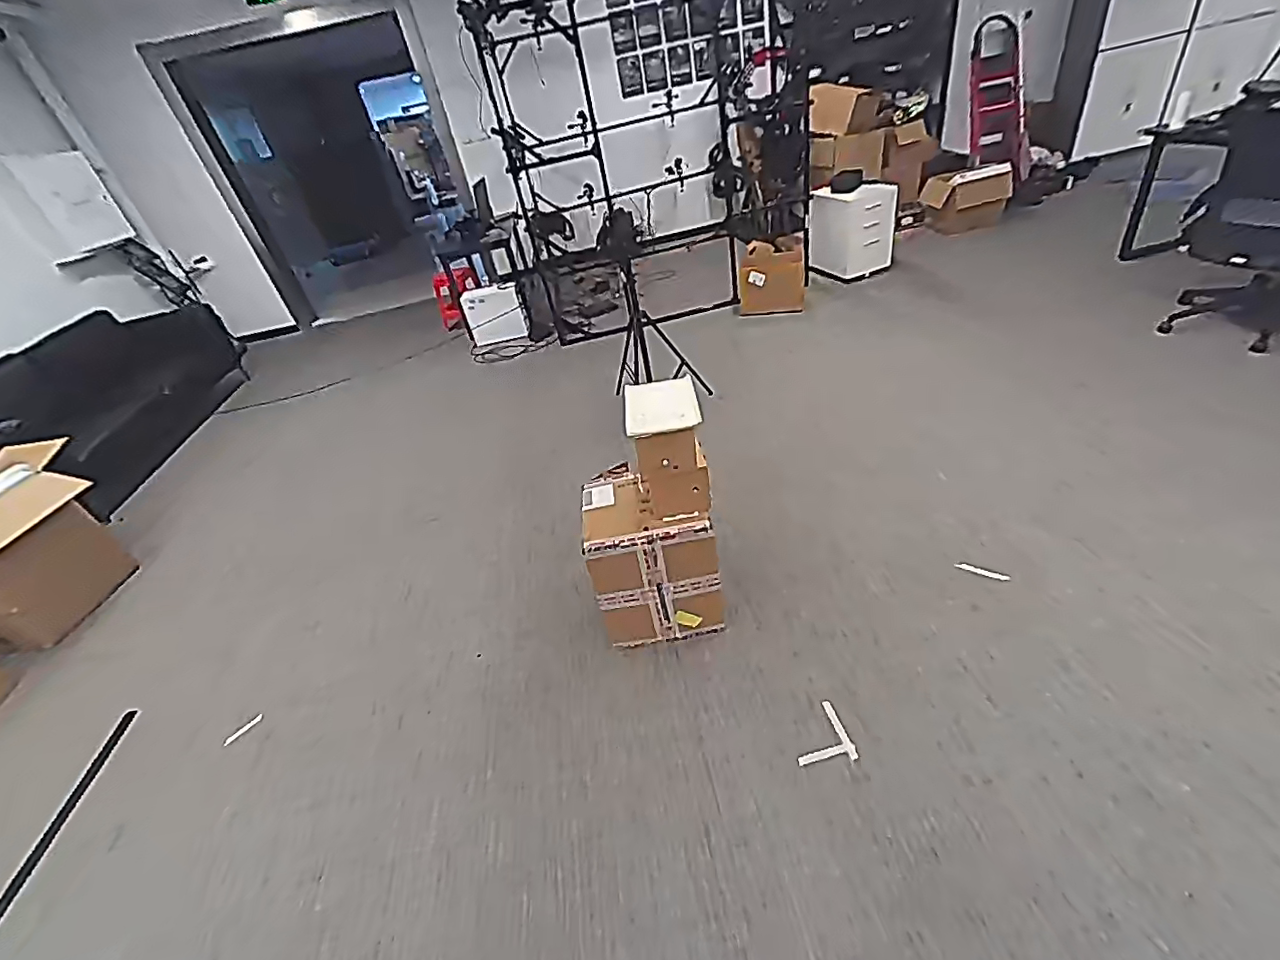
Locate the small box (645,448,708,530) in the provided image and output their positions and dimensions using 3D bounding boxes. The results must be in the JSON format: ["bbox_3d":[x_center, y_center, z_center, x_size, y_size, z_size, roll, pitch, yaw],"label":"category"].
[{"bbox_3d":[0.105,0.028,1.623,0.179,0.176,0.168,-11,37,0],"label":"small box"}]

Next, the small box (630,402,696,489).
[{"bbox_3d":[0.063,-0.097,1.522,0.168,0.176,0.179,-8,38,3],"label":"small box"}]
